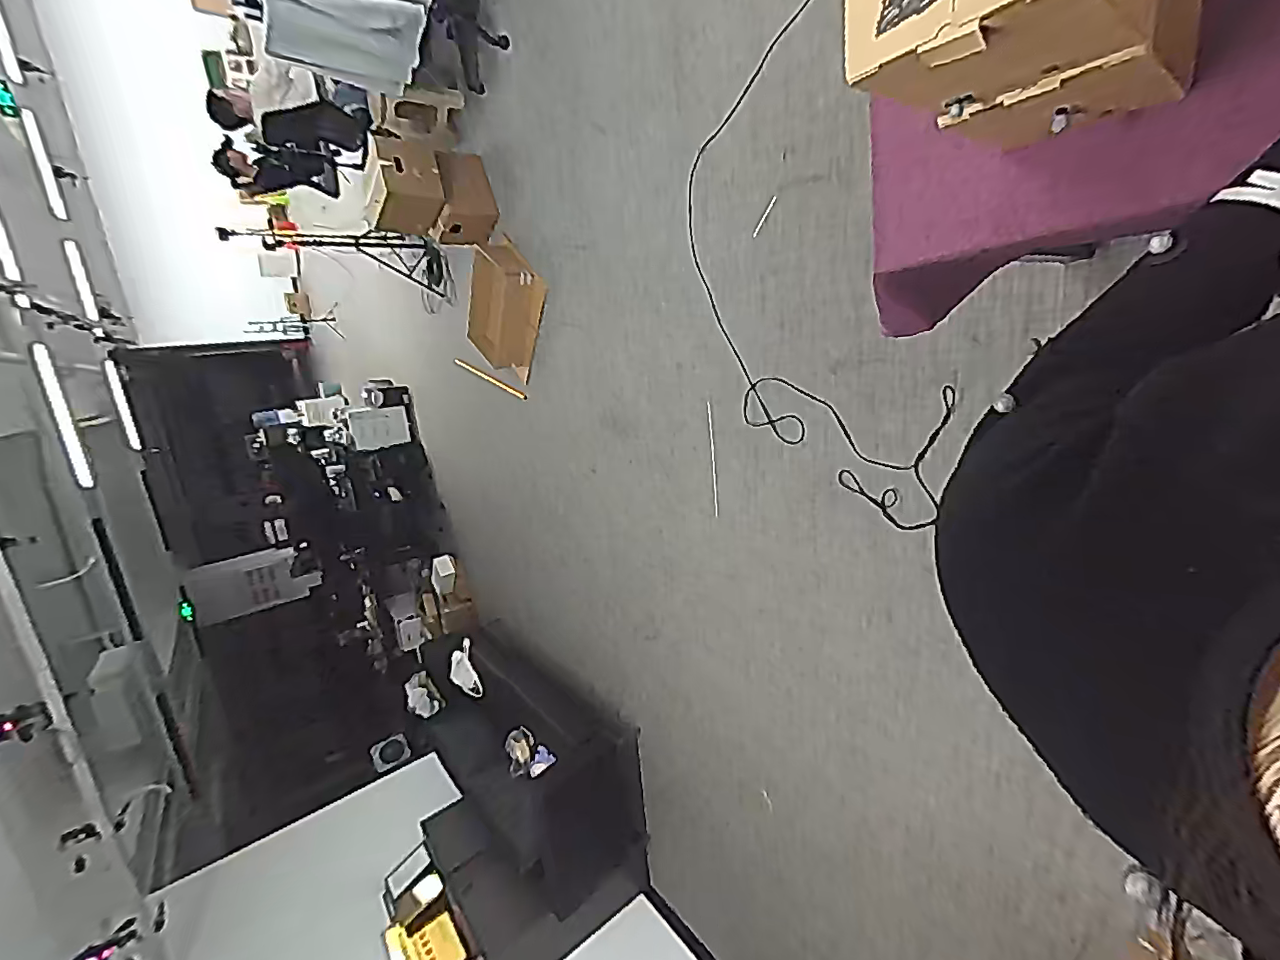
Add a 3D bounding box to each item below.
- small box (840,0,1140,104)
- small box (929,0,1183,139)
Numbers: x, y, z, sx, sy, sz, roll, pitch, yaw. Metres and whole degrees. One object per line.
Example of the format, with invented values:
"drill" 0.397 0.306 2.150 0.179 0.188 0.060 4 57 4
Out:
"small box" 0.280 -0.427 0.428 0.168 0.176 0.179 14 113 50
"small box" 0.408 -0.456 0.529 0.168 0.176 0.179 13 113 50
